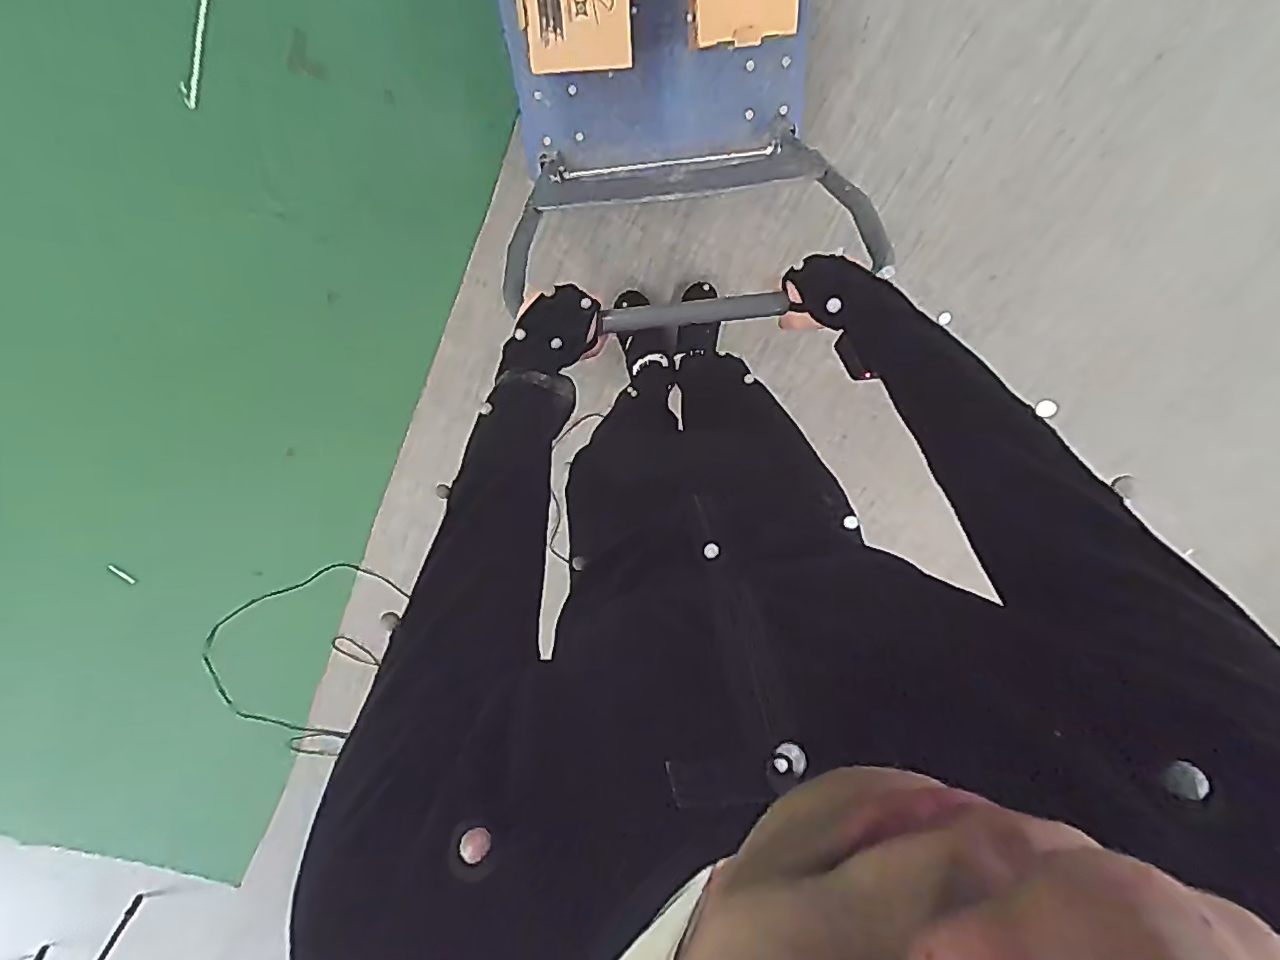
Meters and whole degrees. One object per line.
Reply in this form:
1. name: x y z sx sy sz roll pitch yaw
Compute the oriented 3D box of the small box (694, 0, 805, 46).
1. small box: 0.177 -0.847 0.905 0.168 0.176 0.179 -5 130 4
